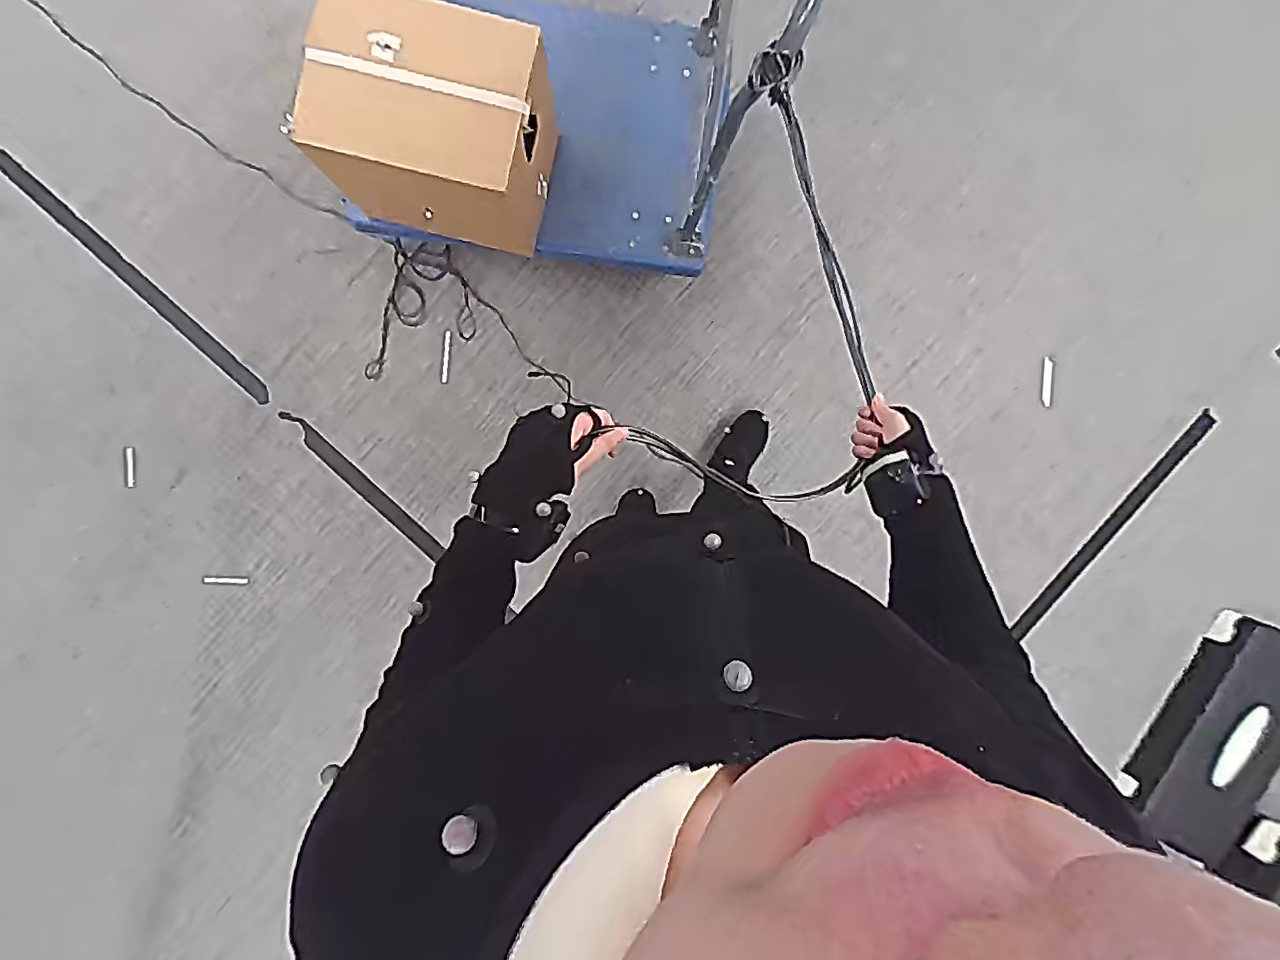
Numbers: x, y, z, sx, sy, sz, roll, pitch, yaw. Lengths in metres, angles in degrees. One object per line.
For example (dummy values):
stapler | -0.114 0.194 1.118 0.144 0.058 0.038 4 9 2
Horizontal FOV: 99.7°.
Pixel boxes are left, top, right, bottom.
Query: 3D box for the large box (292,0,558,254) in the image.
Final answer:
large box | -0.410 -0.714 1.129 0.408 0.320 0.320 12 90 -2
